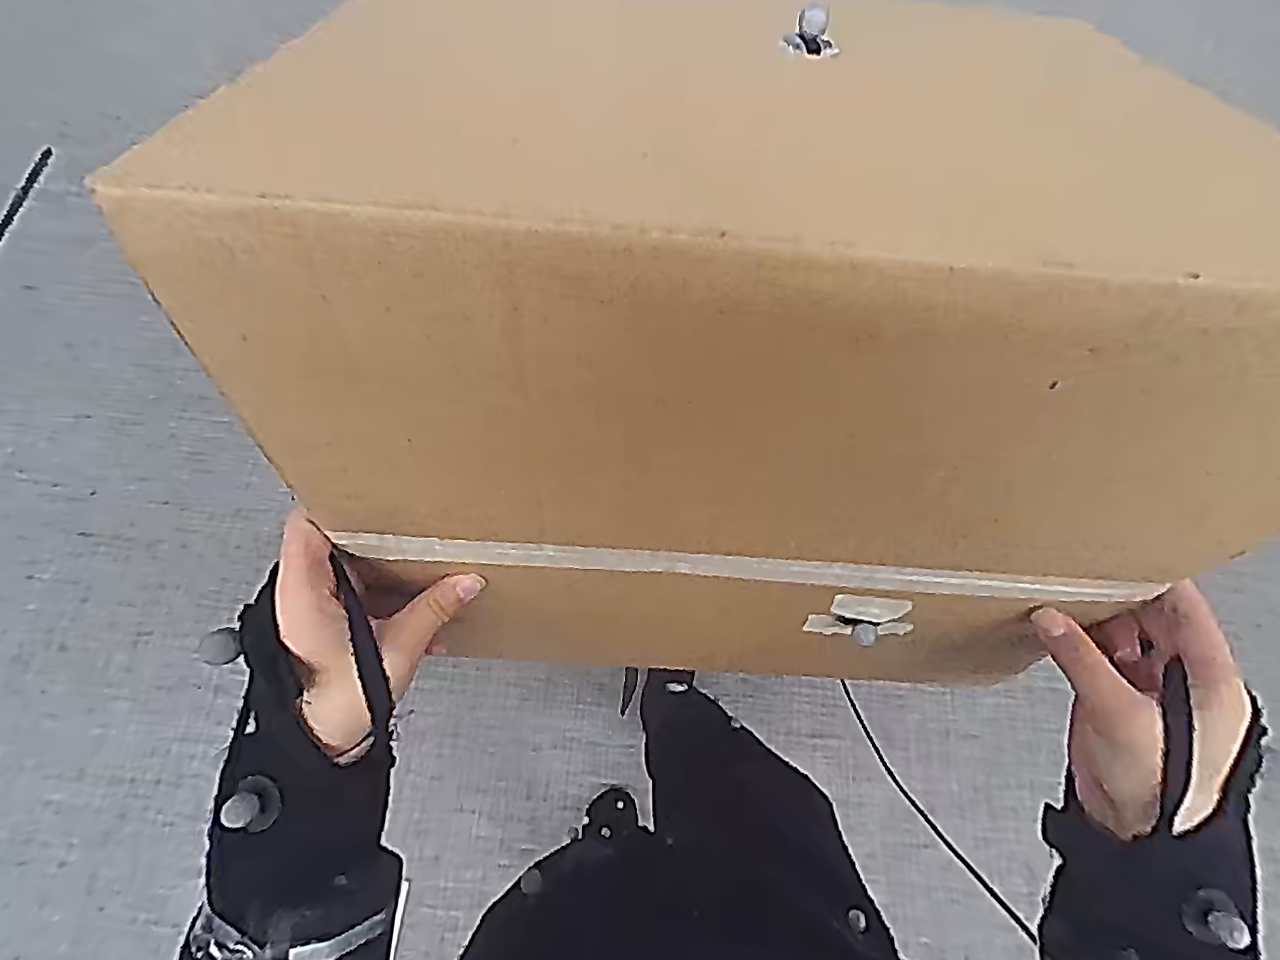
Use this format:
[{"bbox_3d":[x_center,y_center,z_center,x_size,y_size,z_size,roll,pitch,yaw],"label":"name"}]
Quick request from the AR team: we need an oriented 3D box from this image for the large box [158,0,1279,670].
[{"bbox_3d":[0.055,-0.081,0.361,0.408,0.320,0.320,3,53,-2],"label":"large box"}]
